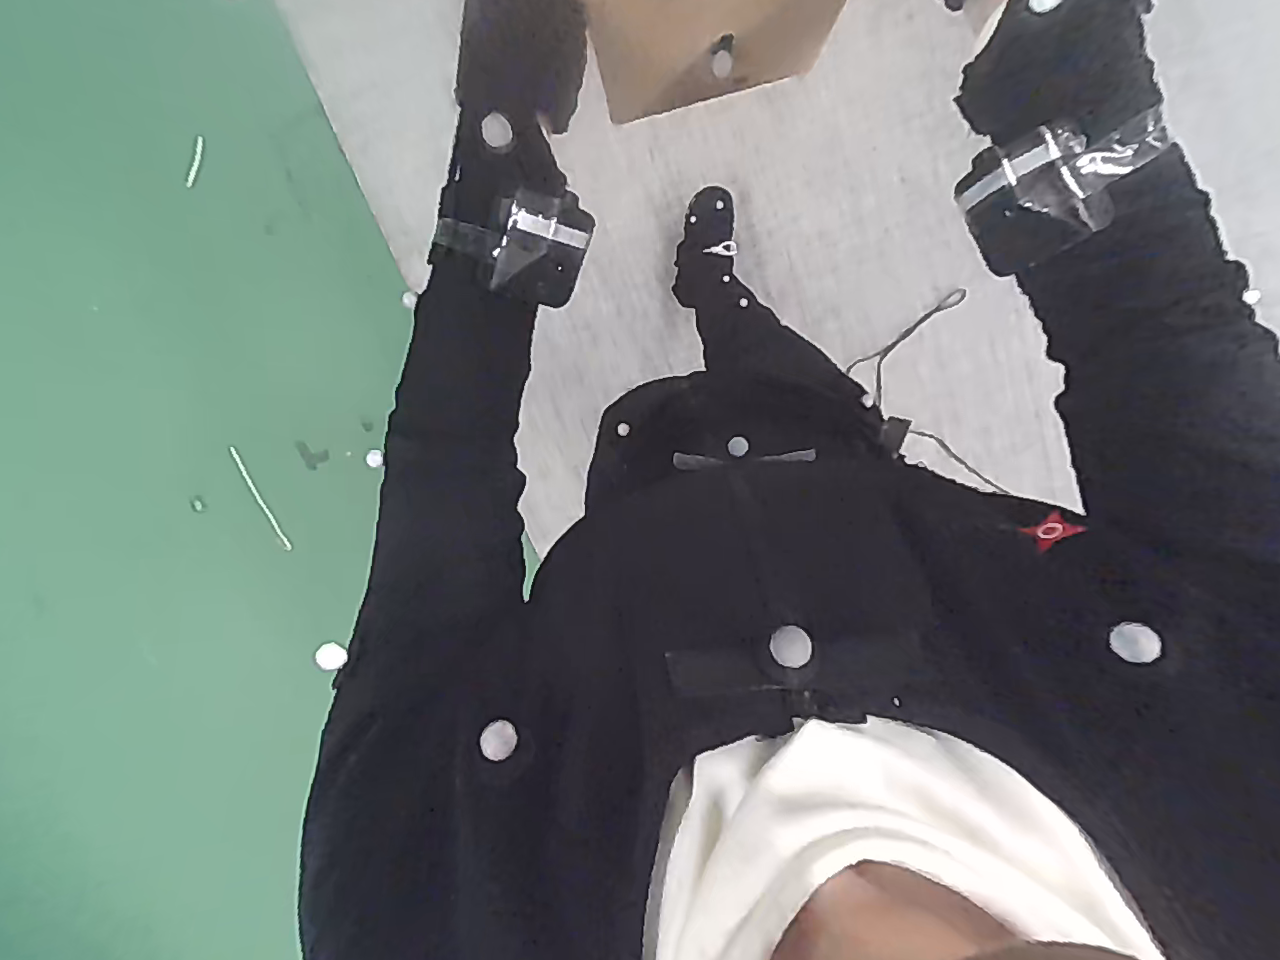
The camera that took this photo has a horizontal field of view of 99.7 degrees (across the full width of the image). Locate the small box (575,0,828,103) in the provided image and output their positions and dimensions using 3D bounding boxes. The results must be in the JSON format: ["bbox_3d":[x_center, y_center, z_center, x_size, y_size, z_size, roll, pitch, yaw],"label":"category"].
[{"bbox_3d":[0.032,-0.375,0.344,0.168,0.176,0.179,-12,104,6],"label":"small box"}]
